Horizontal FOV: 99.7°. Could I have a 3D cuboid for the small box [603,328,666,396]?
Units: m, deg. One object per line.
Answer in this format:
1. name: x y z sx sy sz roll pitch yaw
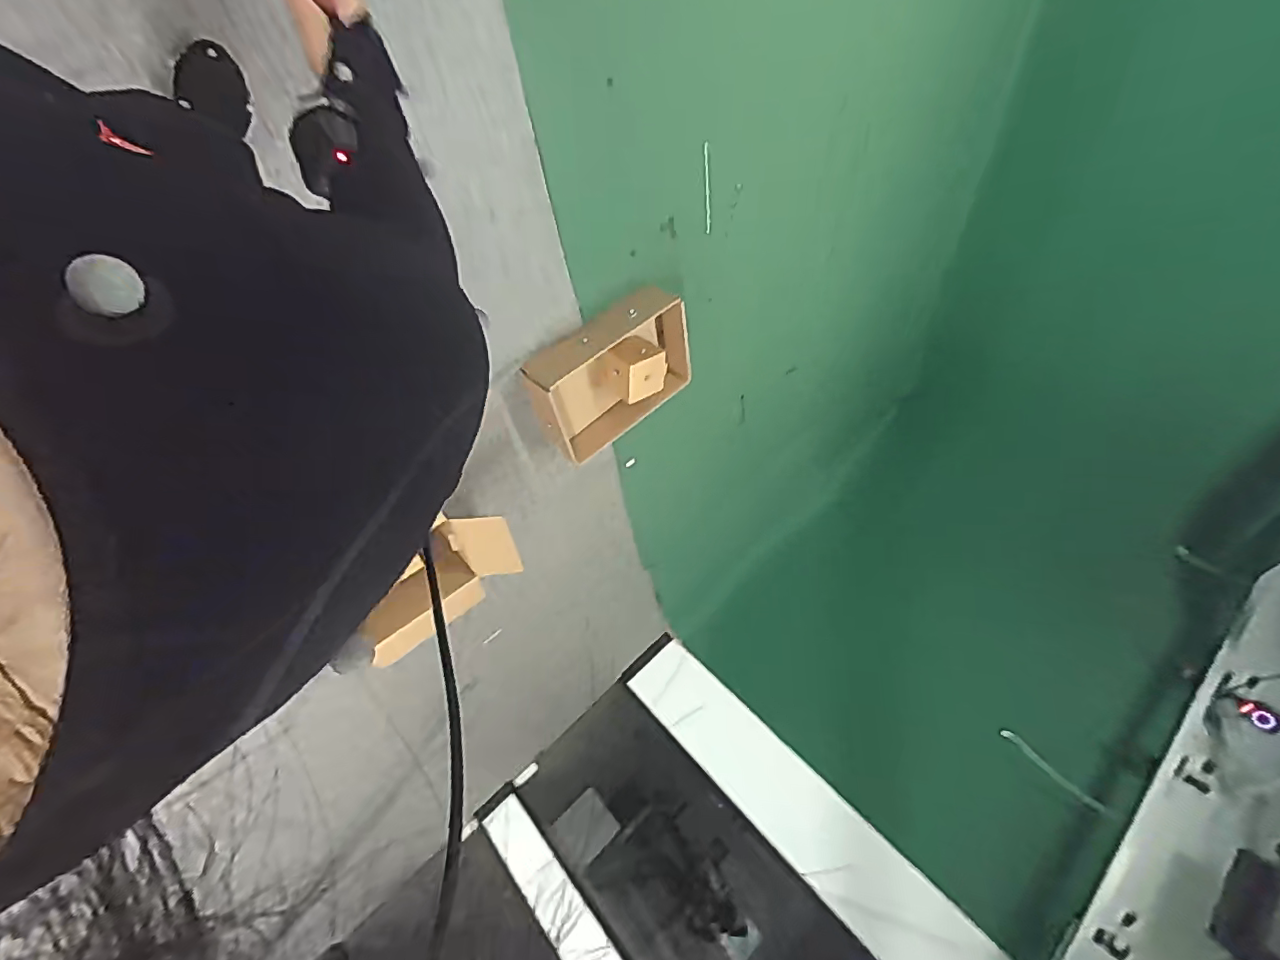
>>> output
1. small box: -0.026 -0.446 2.025 0.179 0.176 0.168 -30 142 -29
